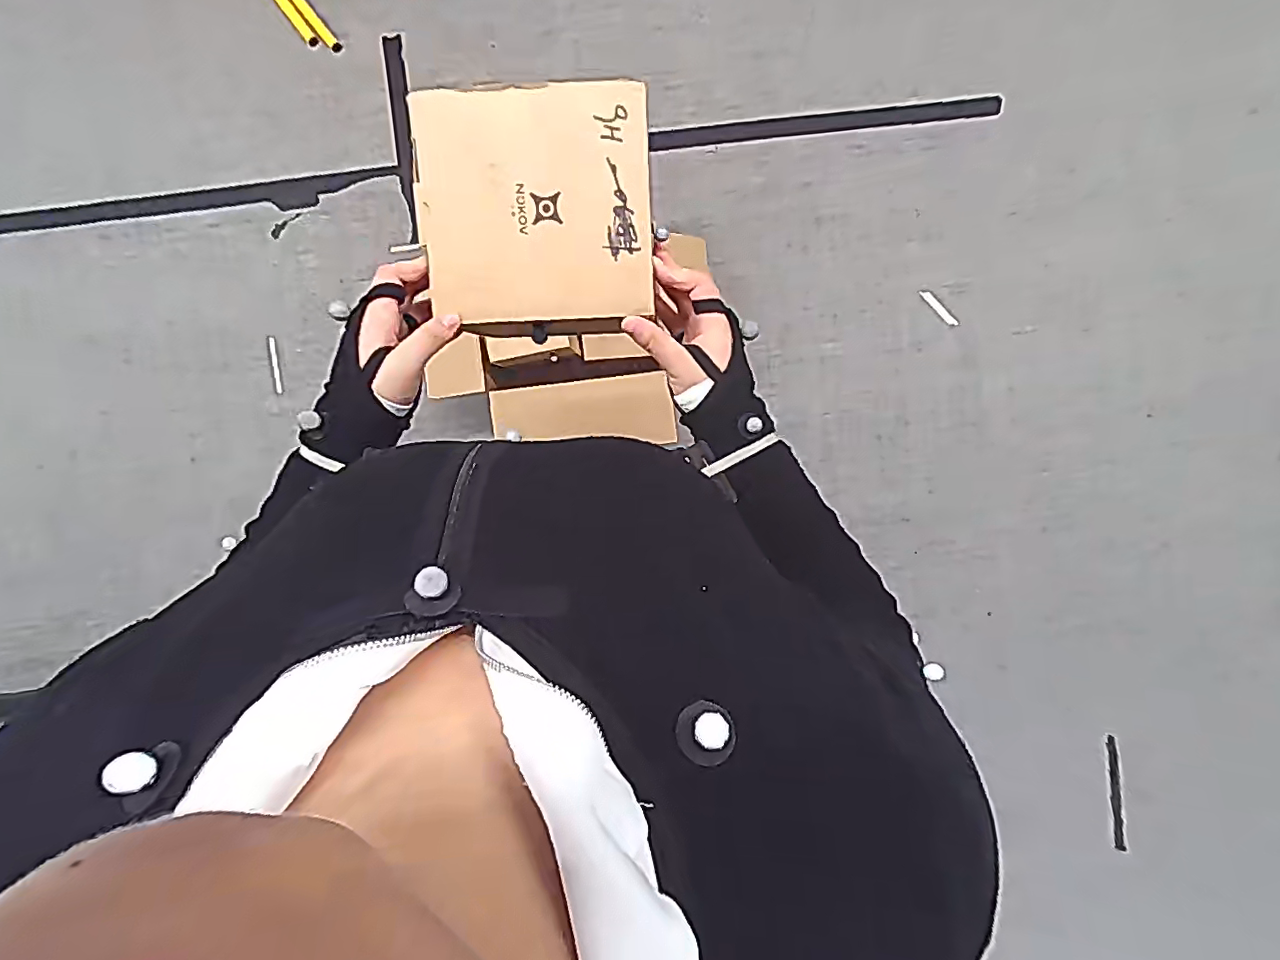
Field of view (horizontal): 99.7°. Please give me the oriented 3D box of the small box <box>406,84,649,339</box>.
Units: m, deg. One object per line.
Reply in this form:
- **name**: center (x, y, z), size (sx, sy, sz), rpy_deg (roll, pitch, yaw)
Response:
- **small box**: center (-0.082, -0.219, 0.487), size (0.179, 0.176, 0.168), rpy_deg (-2, 101, 1)
